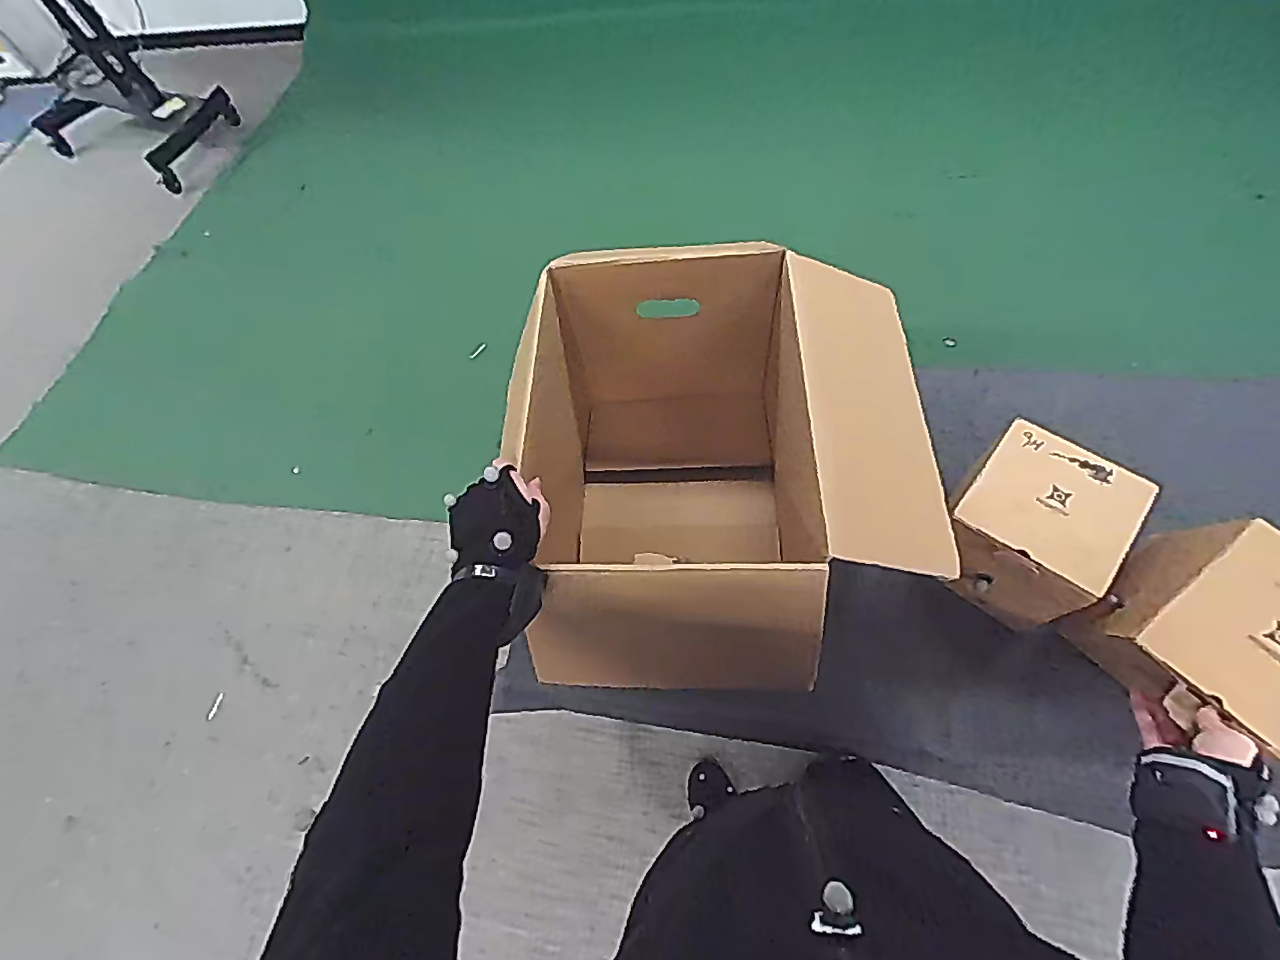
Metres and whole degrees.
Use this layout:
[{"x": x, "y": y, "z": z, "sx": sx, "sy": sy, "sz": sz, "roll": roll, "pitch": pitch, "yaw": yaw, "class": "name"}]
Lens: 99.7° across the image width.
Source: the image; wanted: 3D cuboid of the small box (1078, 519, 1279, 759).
[{"x": 0.636, "y": 0.169, "z": 0.591, "sx": 0.179, "sy": 0.176, "sz": 0.168, "roll": -46, "pitch": 71, "yaw": 2, "class": "small box"}]
